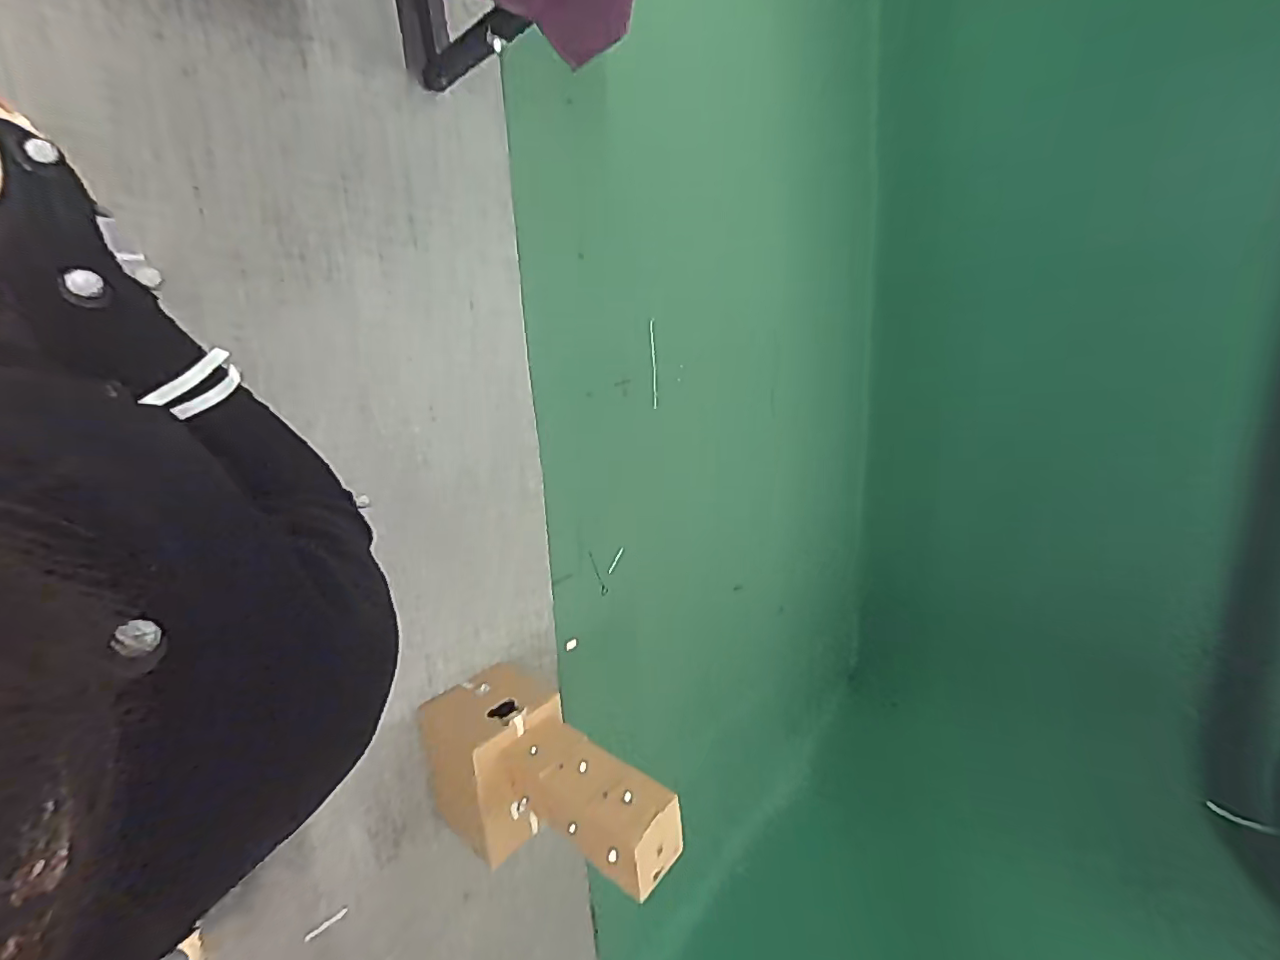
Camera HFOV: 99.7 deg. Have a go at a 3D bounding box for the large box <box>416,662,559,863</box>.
[{"bbox_3d":[-0.461,0.861,1.705,0.320,0.320,0.408,-19,111,-46],"label":"large box"}]

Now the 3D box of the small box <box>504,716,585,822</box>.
[{"bbox_3d":[-0.271,0.814,1.543,0.179,0.176,0.168,-21,112,-47],"label":"small box"}]

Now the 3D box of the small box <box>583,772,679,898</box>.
[{"bbox_3d":[-0.024,0.855,1.329,0.168,0.176,0.179,-23,113,-45],"label":"small box"}]

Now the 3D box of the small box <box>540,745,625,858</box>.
[{"bbox_3d":[-0.147,0.838,1.438,0.168,0.176,0.179,-25,115,-44],"label":"small box"}]
